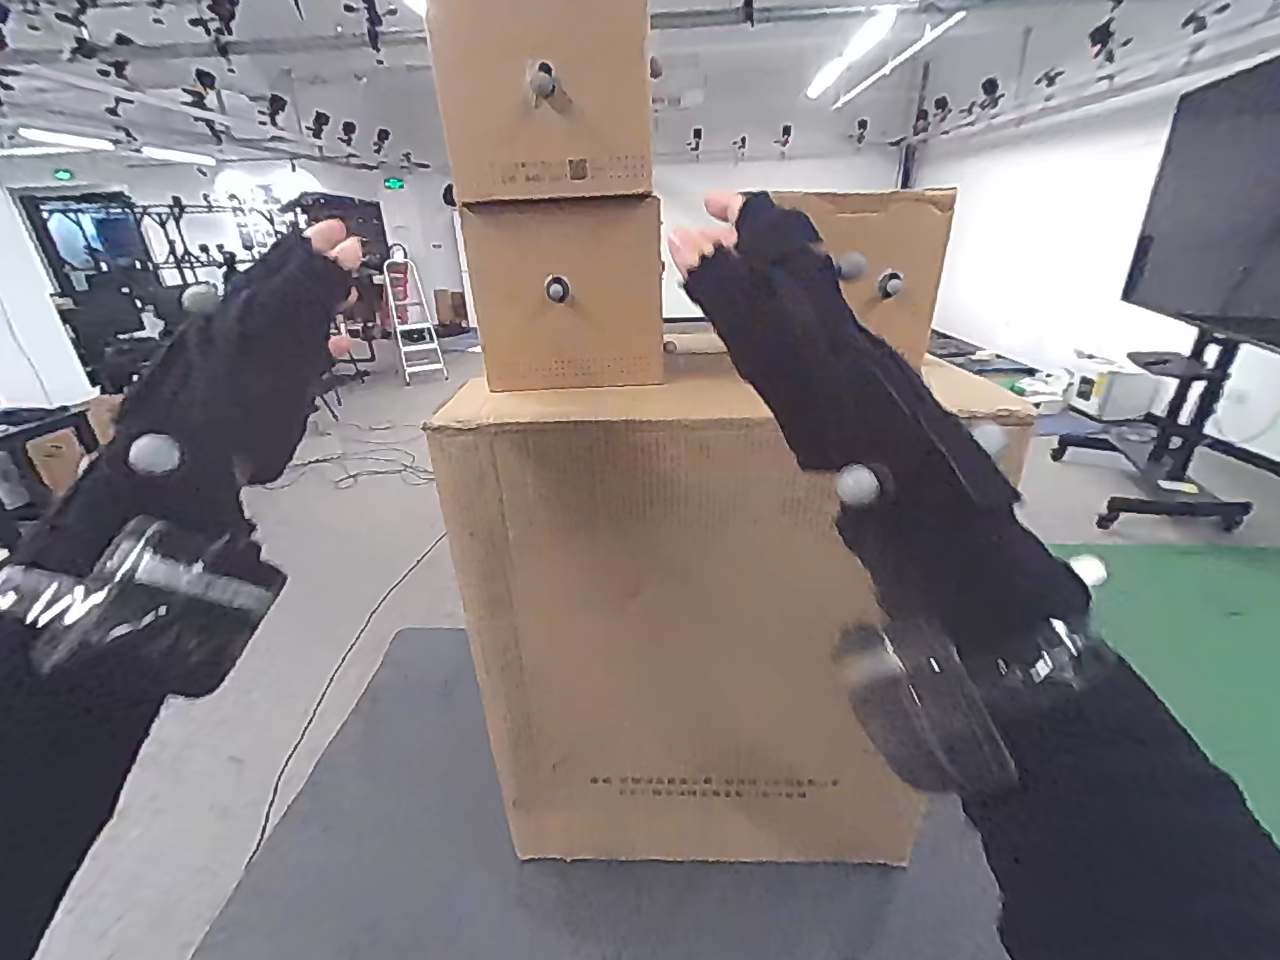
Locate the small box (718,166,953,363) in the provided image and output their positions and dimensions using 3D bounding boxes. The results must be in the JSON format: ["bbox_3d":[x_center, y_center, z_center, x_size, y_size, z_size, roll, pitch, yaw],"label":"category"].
[{"bbox_3d":[0.179,-0.222,0.558,0.168,0.176,0.179,-4,29,-4],"label":"small box"}]

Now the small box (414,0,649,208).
[{"bbox_3d":[-0.078,-0.341,0.488,0.168,0.176,0.179,-3,28,1],"label":"small box"}]

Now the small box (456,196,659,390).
[{"bbox_3d":[-0.069,-0.201,0.572,0.179,0.176,0.168,-3,27,1],"label":"small box"}]
